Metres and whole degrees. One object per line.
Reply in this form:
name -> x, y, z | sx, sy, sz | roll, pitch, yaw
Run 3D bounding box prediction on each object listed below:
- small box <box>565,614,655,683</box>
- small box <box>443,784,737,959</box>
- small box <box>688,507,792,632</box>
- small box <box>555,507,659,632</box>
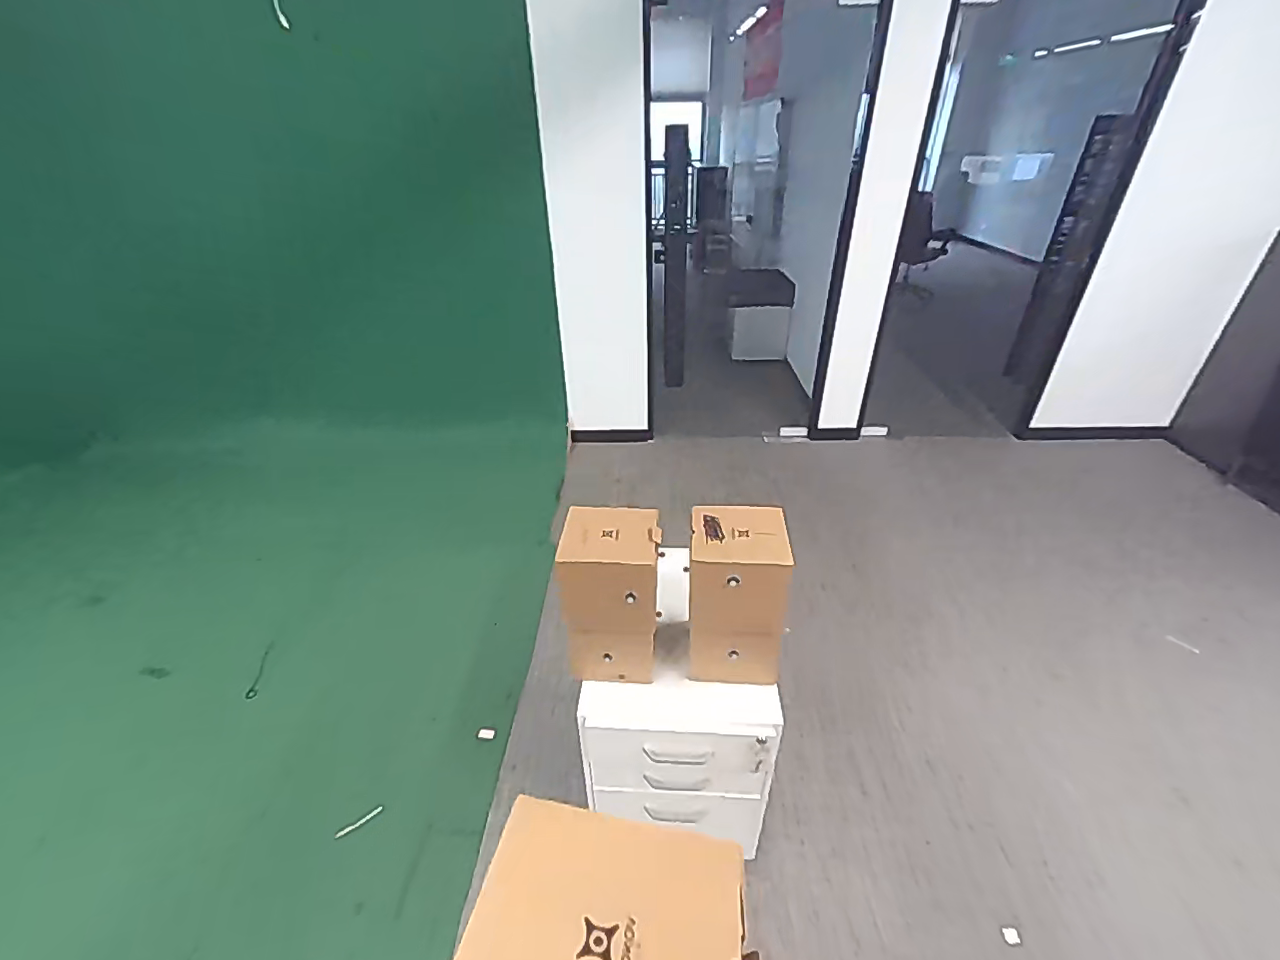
small box -> -0.054, 0.297, 1.123 | 0.168, 0.176, 0.179 | 3, 33, 3
small box -> -0.034, 0.354, 0.370 | 0.179, 0.176, 0.168 | 10, 23, 5
small box -> 0.181, 0.167, 1.017 | 0.179, 0.176, 0.168 | 2, 33, 6
small box -> -0.054, 0.169, 1.023 | 0.179, 0.176, 0.168 | 1, 32, 3
